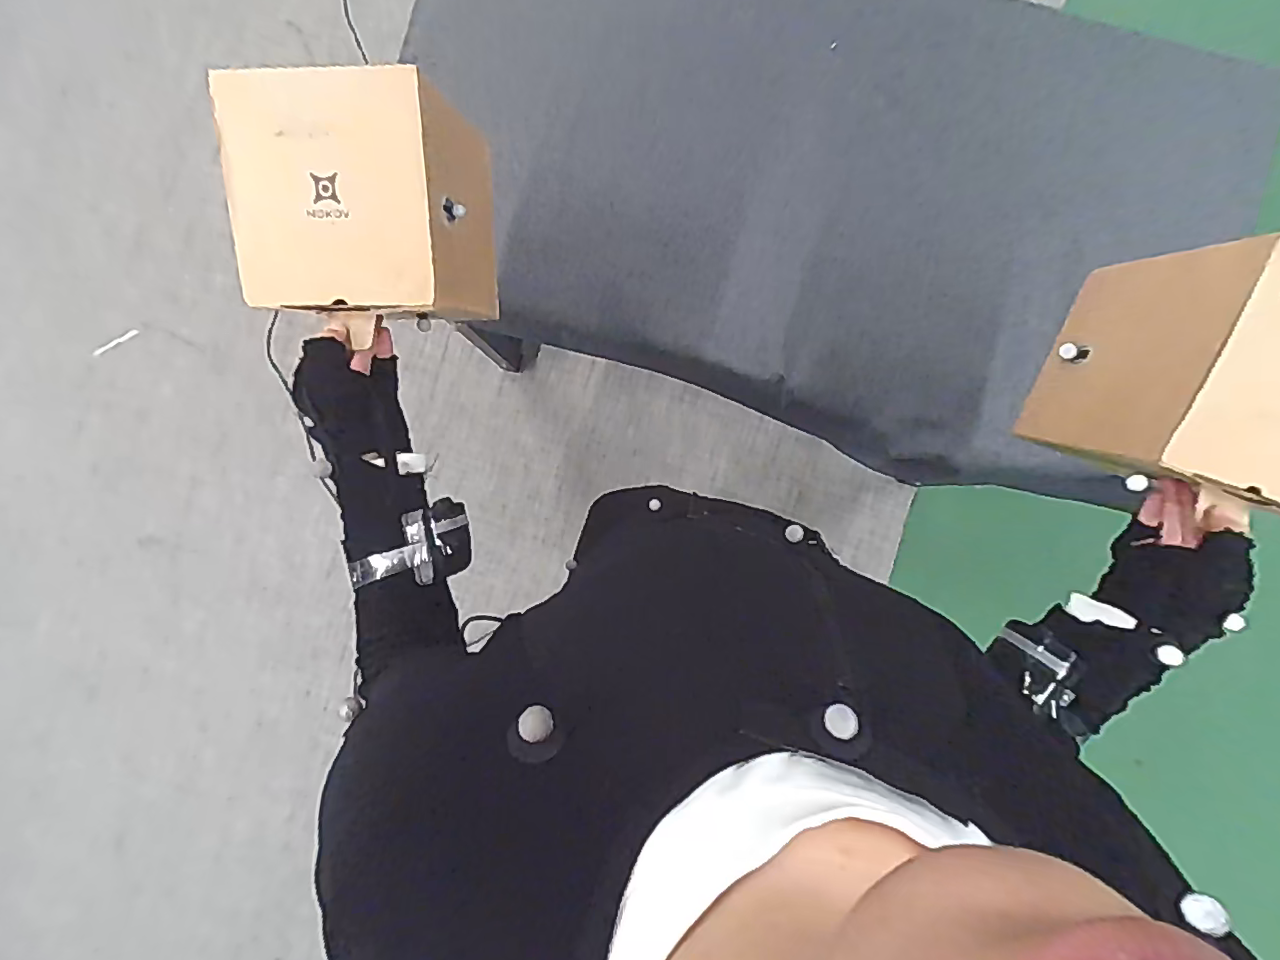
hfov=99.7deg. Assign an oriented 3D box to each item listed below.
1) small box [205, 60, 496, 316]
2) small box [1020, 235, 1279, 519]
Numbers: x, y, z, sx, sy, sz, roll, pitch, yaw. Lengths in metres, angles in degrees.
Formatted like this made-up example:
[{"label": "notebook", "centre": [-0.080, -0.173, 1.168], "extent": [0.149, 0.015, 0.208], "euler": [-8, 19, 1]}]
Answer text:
[{"label": "small box", "centre": [-0.240, -0.244, 0.499], "extent": [0.168, 0.176, 0.179], "euler": [0, 103, 3]}, {"label": "small box", "centre": [0.489, -0.086, 0.479], "extent": [0.168, 0.176, 0.179], "euler": [18, 103, -5]}]
